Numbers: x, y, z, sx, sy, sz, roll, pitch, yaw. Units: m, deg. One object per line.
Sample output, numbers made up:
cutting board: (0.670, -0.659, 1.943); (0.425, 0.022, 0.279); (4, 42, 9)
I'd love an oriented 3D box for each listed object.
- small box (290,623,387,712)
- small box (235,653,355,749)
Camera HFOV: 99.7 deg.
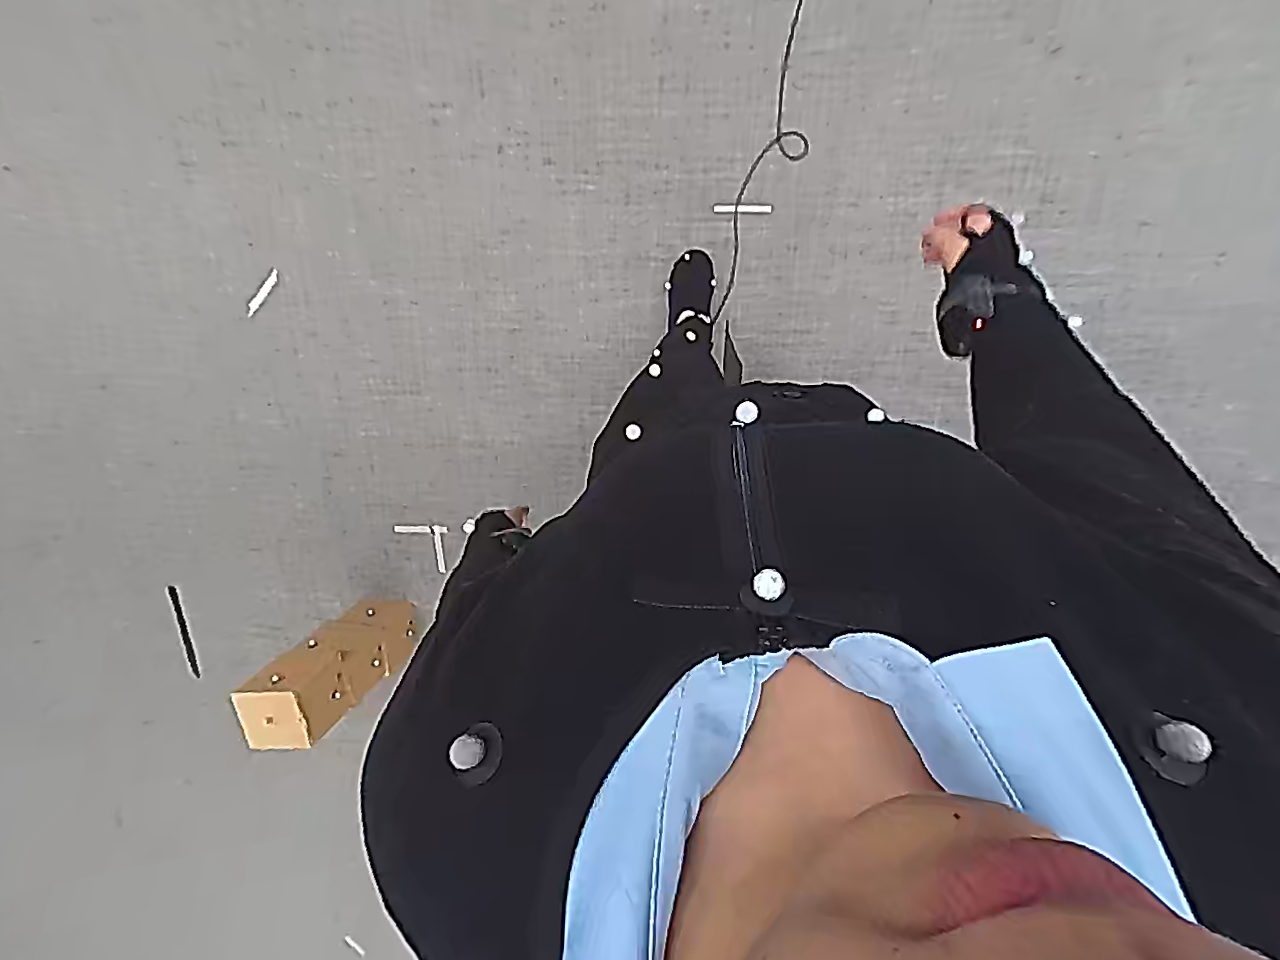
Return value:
small box: (-0.854, 0.527, 1.544); (0.179, 0.176, 0.168); (6, 108, 5)
small box: (-0.875, 0.561, 1.386); (0.179, 0.176, 0.168); (-5, 106, 8)
